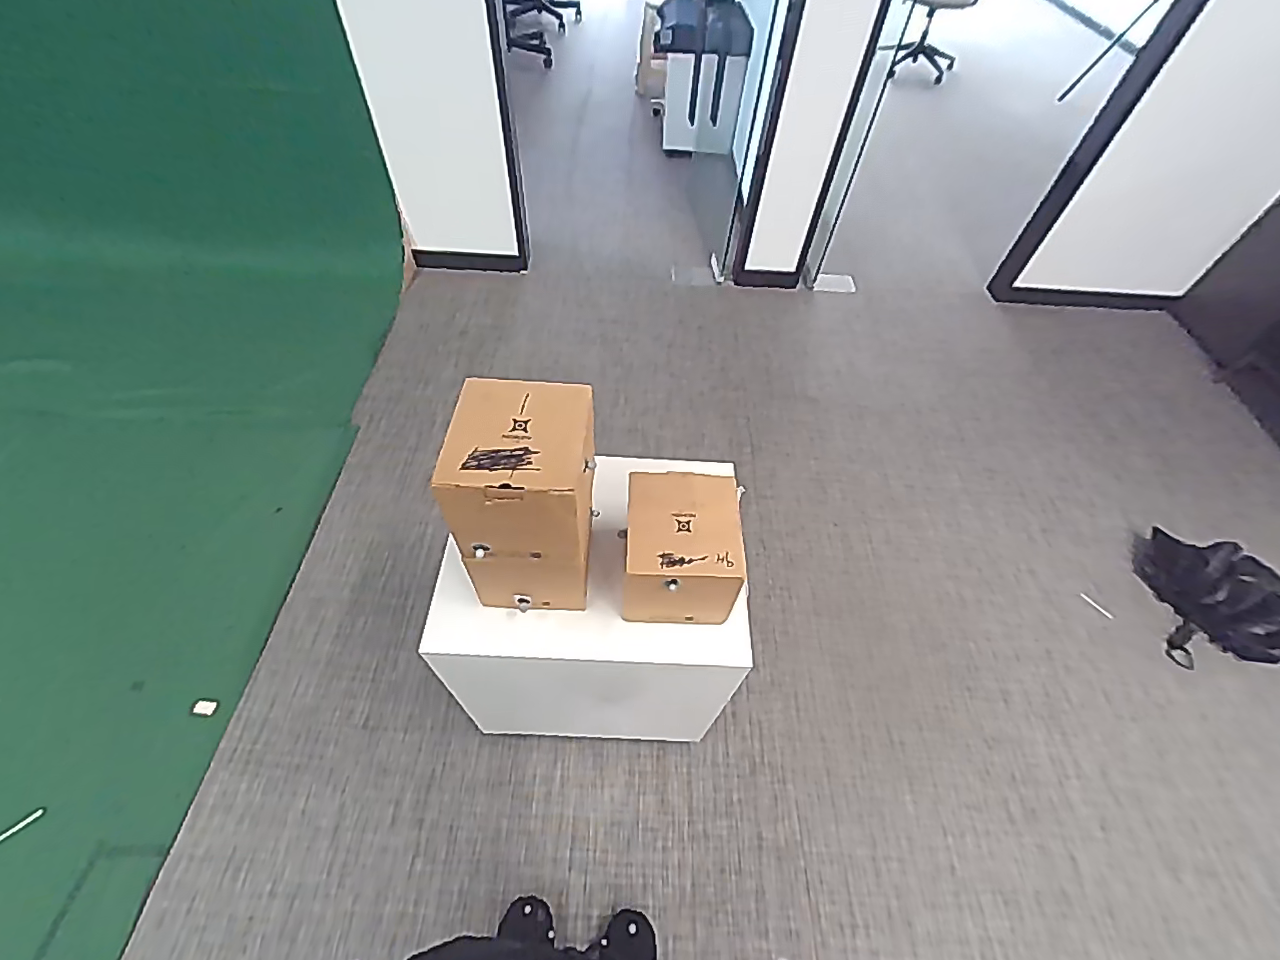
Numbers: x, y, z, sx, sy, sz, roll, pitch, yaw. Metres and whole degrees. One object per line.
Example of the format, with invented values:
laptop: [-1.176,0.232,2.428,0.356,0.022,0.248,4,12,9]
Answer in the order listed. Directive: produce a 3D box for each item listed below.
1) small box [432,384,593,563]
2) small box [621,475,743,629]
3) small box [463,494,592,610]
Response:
small box: [-0.153,-0.004,0.723,0.168,0.176,0.179,4,51,0]
small box: [0.057,0.114,0.850,0.168,0.176,0.179,3,52,-2]
small box: [-0.161,0.086,0.840,0.168,0.176,0.179,1,54,-2]
